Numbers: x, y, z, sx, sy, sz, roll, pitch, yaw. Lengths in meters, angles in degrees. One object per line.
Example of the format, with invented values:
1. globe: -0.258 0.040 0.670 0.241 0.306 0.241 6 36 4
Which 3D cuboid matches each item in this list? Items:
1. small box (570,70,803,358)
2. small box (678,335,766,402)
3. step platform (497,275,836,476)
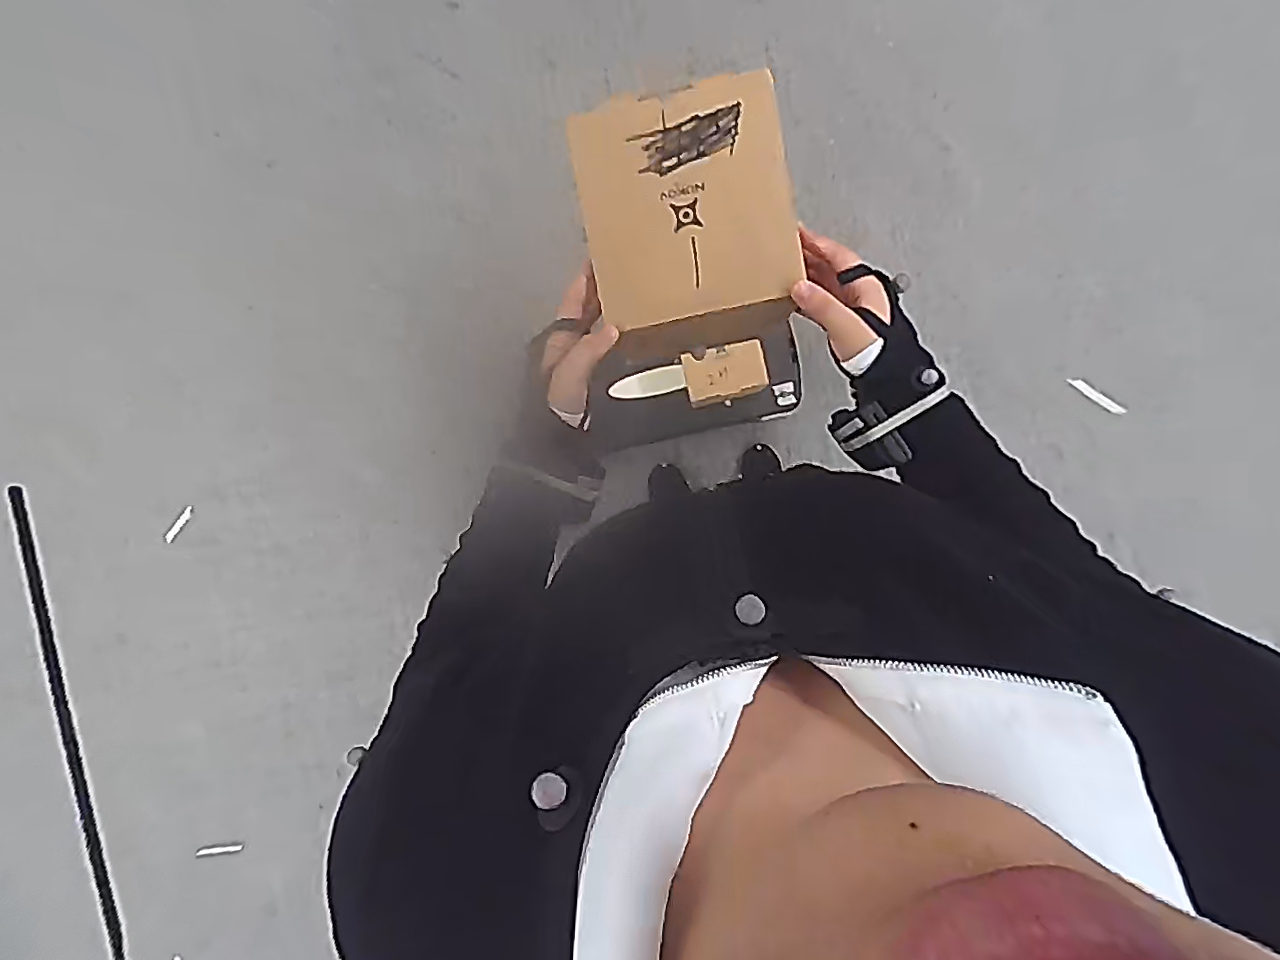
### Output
1. small box: 0.042 -0.228 0.513 0.168 0.176 0.179 -10 93 6
2. small box: 0.173 -0.277 1.209 0.168 0.176 0.179 -13 92 6
3. step platform: 0.051 -0.212 1.188 0.684 0.204 0.286 -12 91 5
